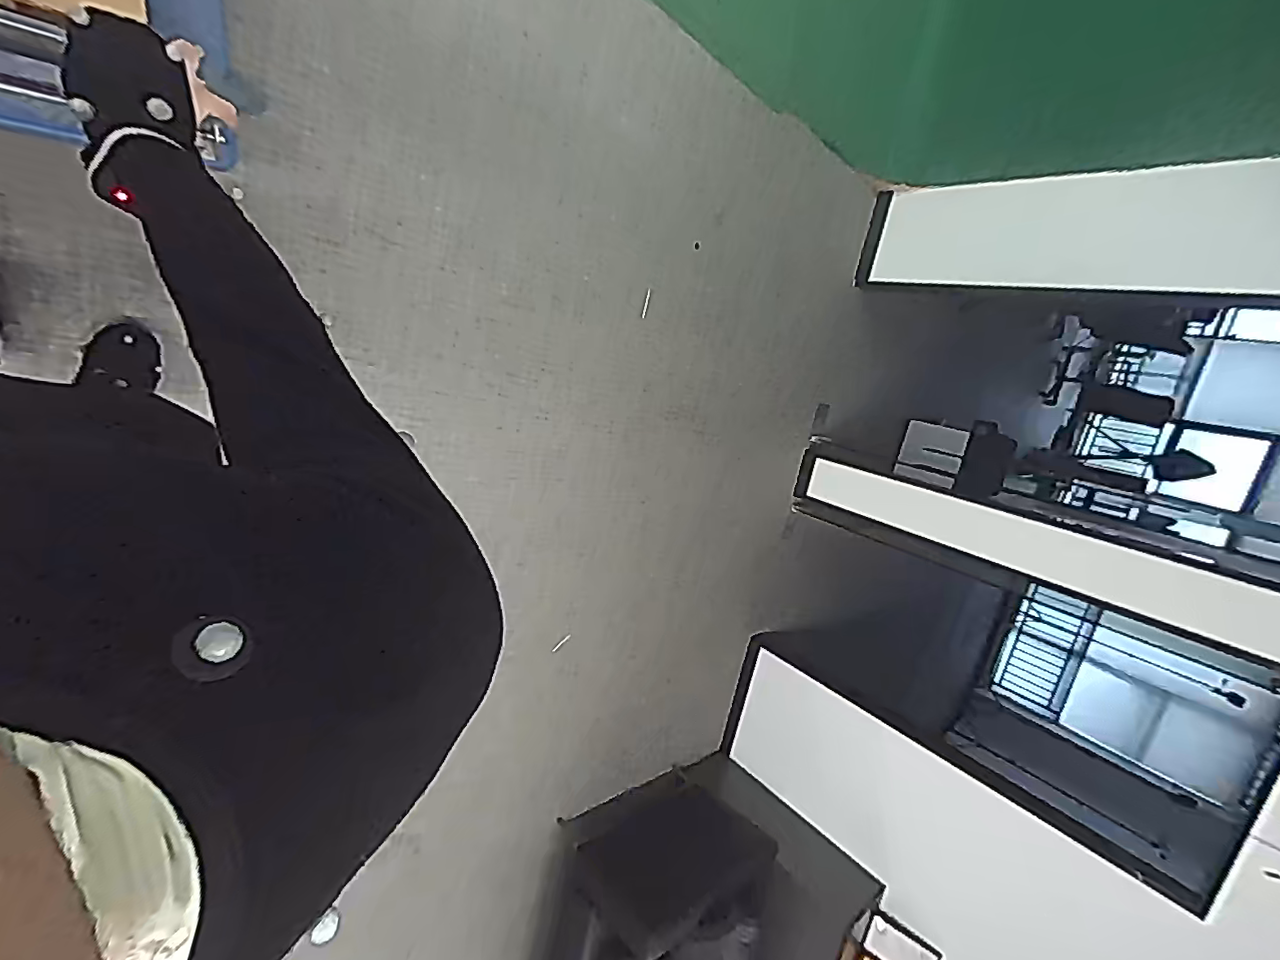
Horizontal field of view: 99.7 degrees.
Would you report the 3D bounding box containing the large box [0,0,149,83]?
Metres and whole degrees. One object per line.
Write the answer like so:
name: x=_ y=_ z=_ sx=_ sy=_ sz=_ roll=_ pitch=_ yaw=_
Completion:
large box: x=-0.867 y=-0.819 z=0.690 sx=0.320 sy=0.320 sz=0.408 roll=-8 pitch=112 yaw=-40
